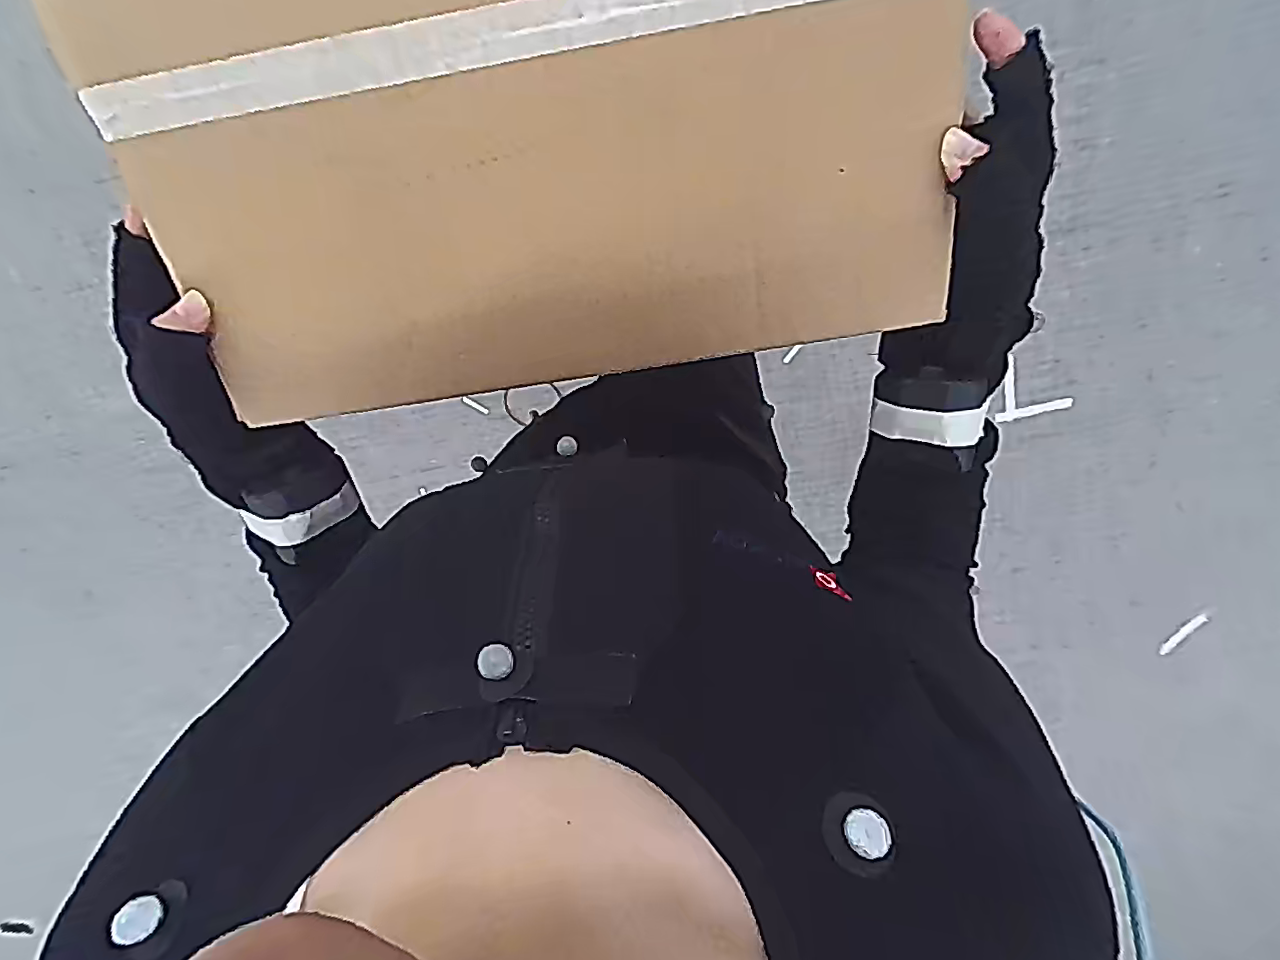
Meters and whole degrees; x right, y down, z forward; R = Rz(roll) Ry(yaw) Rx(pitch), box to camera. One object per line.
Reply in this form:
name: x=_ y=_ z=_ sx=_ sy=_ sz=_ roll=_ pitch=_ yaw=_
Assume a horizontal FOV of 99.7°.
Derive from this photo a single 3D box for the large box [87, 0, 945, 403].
large box: x=-0.058 y=-0.273 z=0.392 sx=0.408 sy=0.320 sz=0.320 roll=-8 pitch=115 yaw=4
